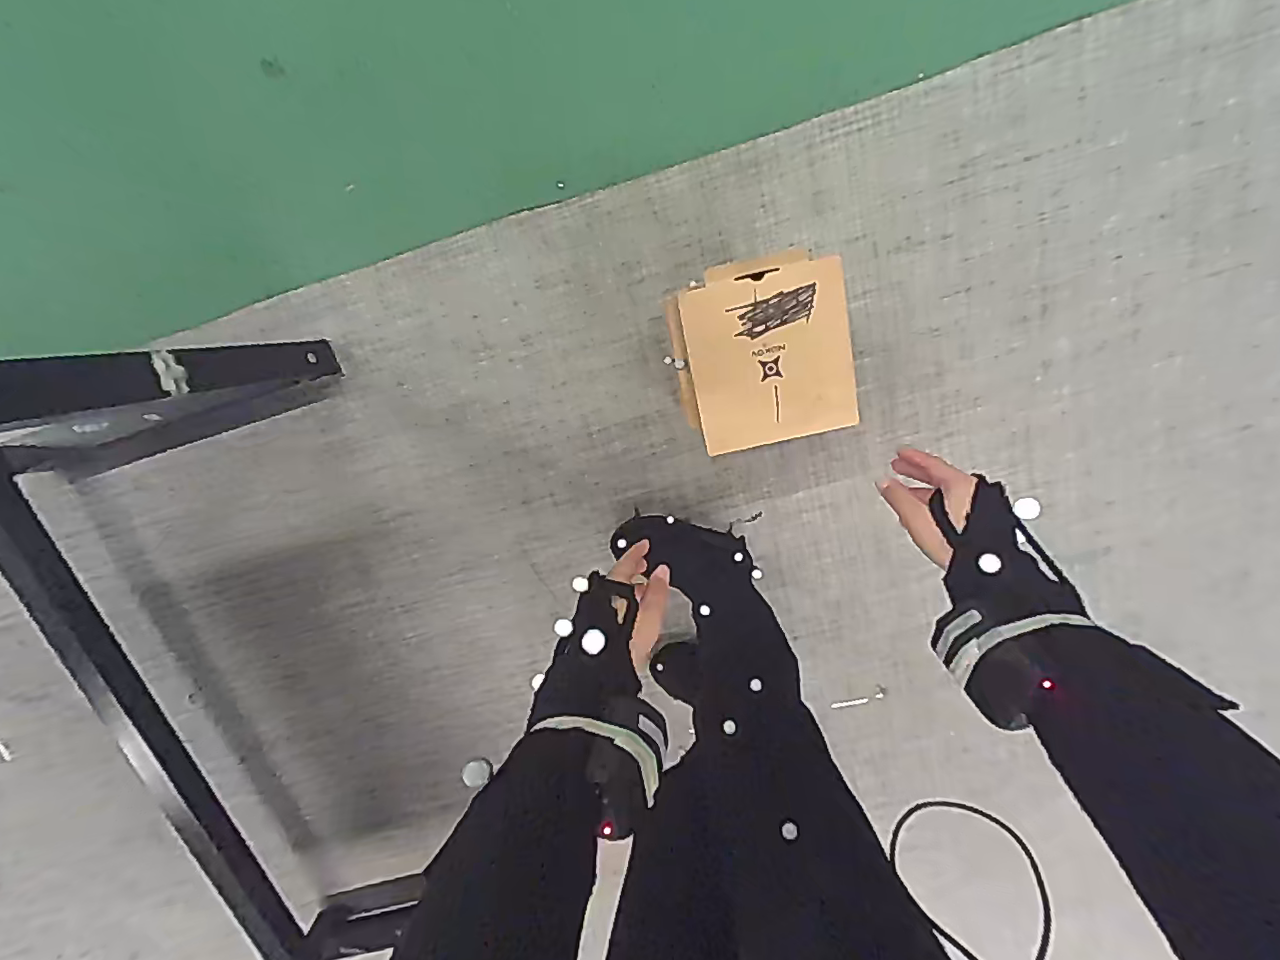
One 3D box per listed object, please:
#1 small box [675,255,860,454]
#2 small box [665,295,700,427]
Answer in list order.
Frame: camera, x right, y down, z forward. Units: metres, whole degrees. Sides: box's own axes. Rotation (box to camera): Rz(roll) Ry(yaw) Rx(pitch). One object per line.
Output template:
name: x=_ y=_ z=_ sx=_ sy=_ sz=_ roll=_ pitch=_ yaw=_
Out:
small box: x=0.138 y=-0.146 z=0.633 sx=0.168 sy=0.176 sz=0.179 roll=-12 pitch=106 yaw=5
small box: x=0.133 y=-0.191 z=0.791 sx=0.168 sy=0.176 sz=0.179 roll=-12 pitch=107 yaw=5
